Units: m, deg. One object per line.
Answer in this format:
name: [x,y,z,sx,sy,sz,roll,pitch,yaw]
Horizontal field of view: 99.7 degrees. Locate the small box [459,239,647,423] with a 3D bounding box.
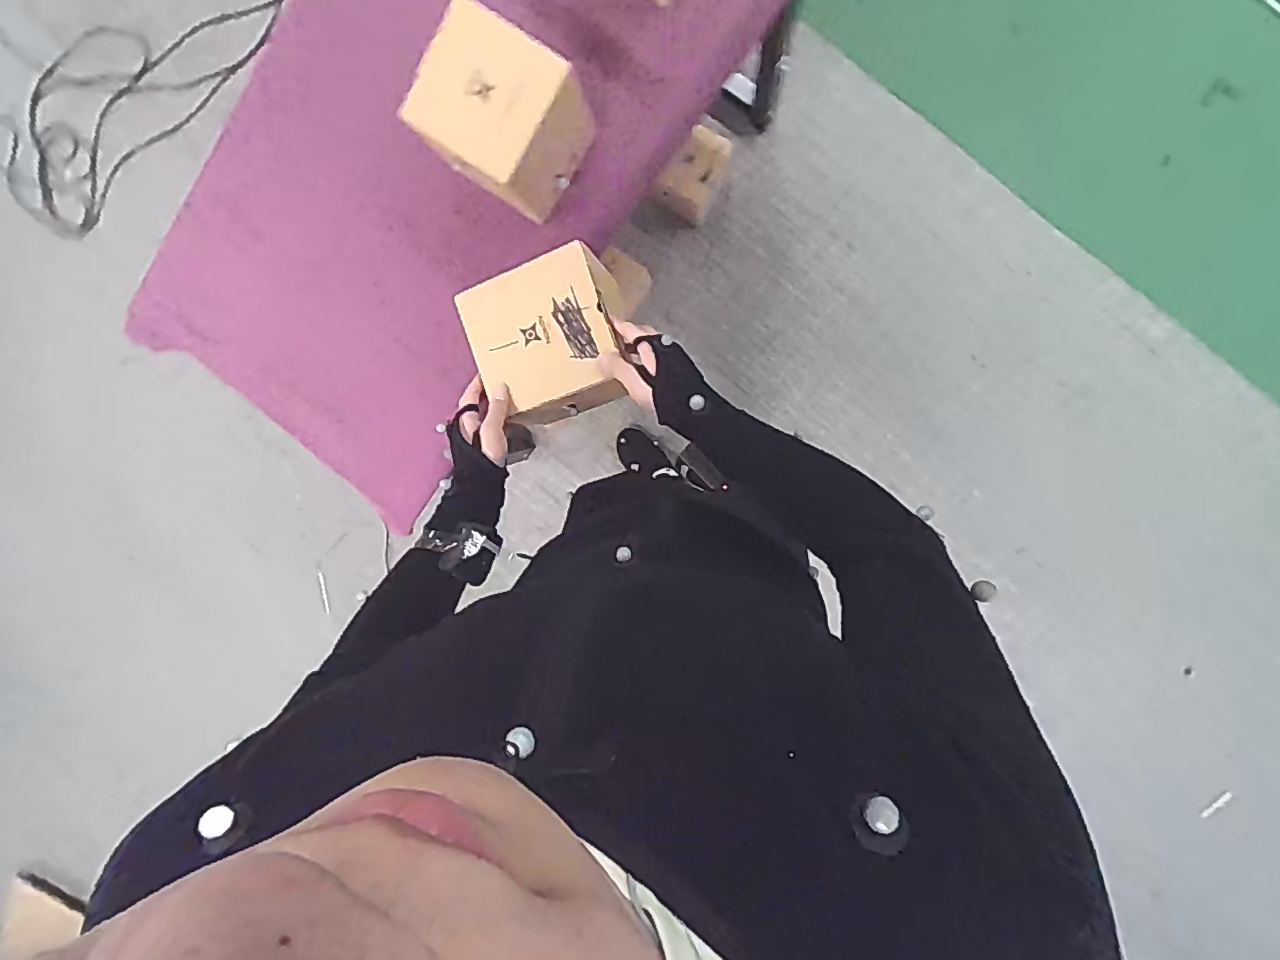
small box: [-0.097,-0.179,0.706,0.179,0.176,0.168,-18,90,12]

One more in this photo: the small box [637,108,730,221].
small box: [0.114,-0.810,1.411,0.179,0.176,0.168,32,100,2]

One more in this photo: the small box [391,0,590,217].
small box: [-0.195,-0.502,0.752,0.179,0.176,0.168,34,101,2]
